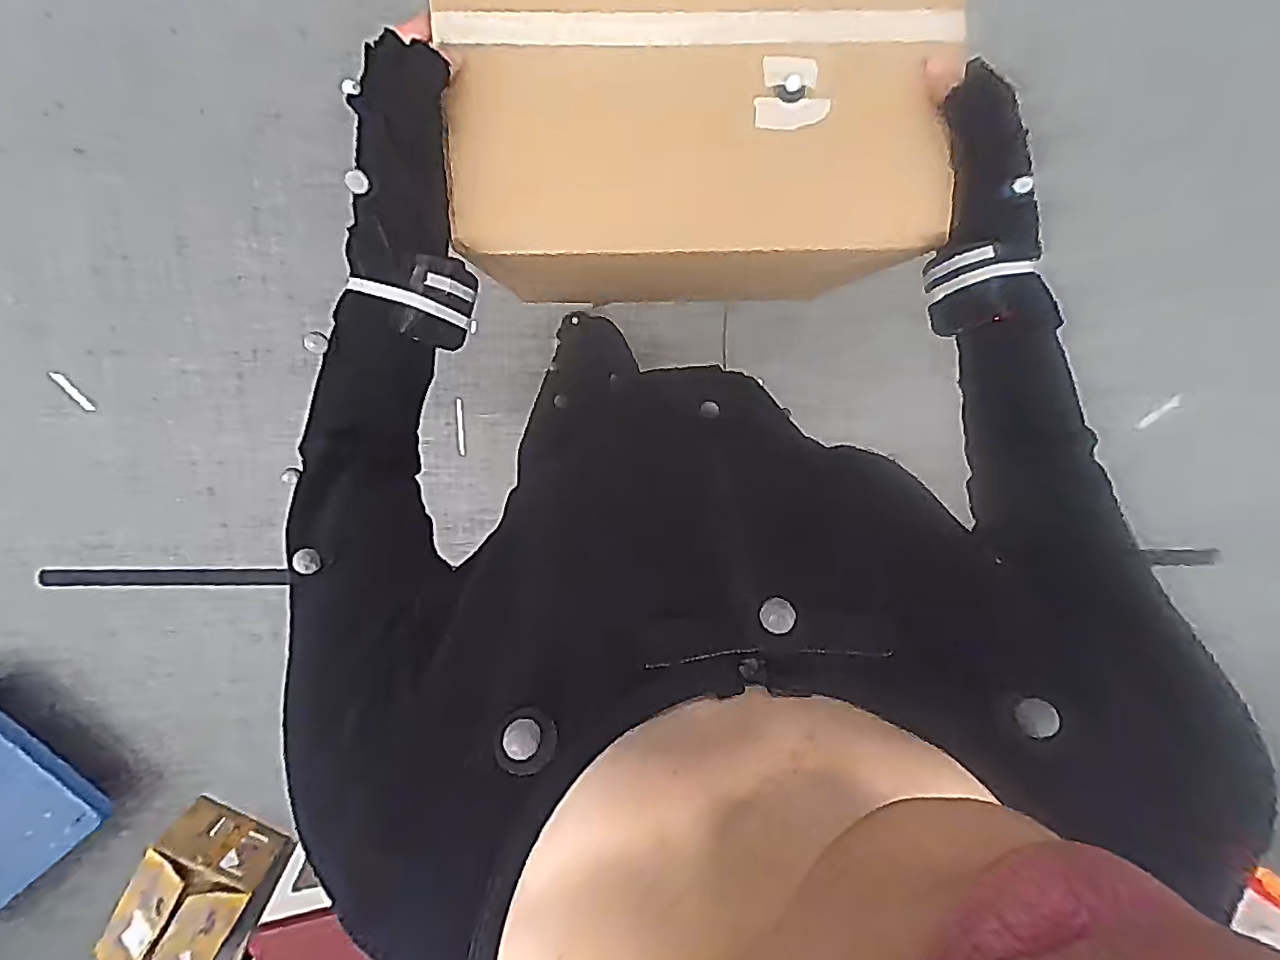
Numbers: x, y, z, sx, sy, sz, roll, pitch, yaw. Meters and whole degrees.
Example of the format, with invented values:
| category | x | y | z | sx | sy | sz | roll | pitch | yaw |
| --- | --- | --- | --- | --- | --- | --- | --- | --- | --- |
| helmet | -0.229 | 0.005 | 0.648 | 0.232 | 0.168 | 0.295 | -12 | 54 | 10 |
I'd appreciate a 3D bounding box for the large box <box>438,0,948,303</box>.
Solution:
| category | x | y | z | sx | sy | sz | roll | pitch | yaw |
| --- | --- | --- | --- | --- | --- | --- | --- | --- | --- |
| large box | 0.036 | -0.374 | 0.567 | 0.408 | 0.320 | 0.320 | -2 | 101 | -2 |
